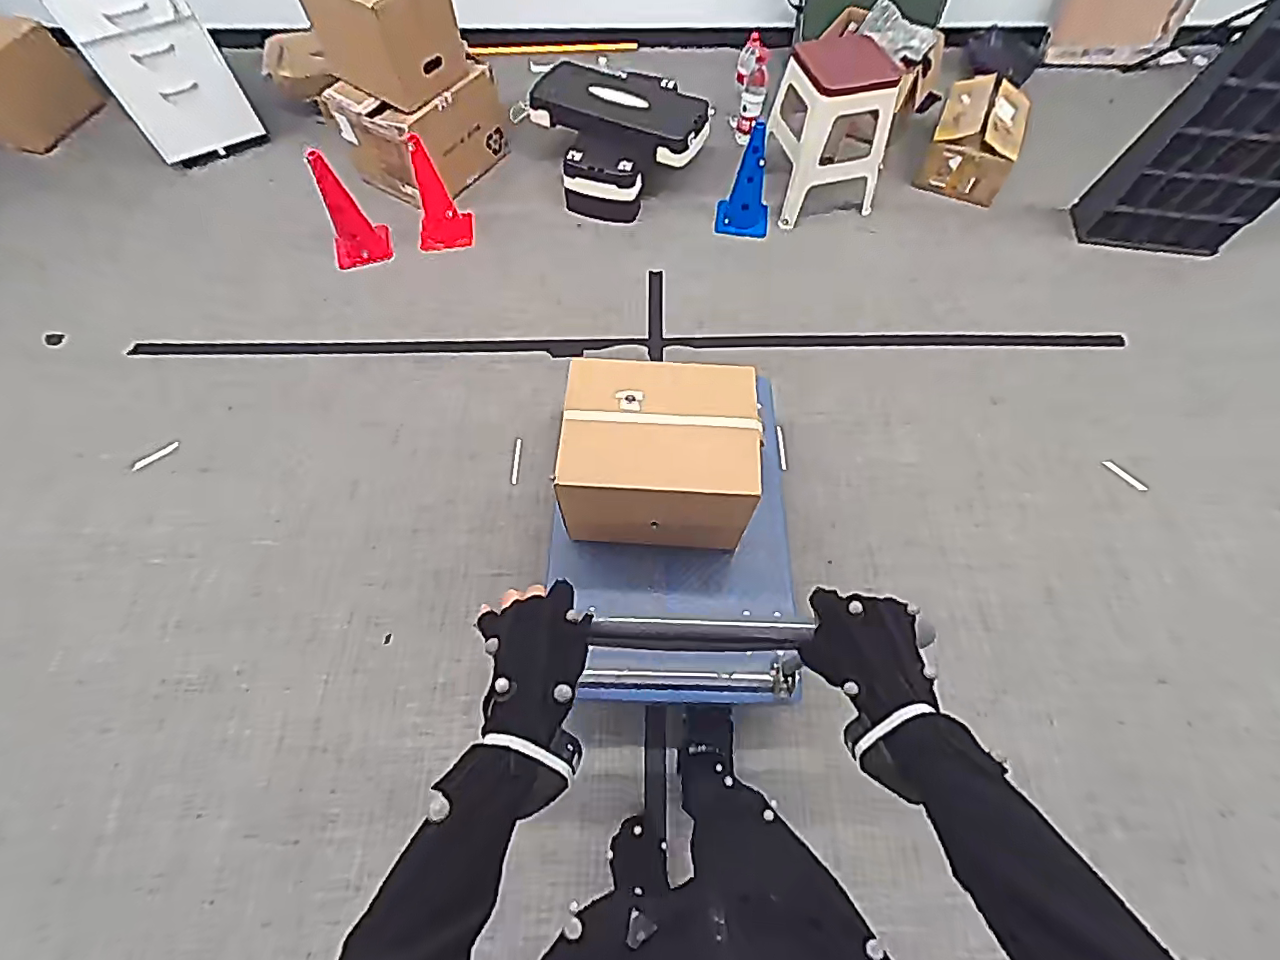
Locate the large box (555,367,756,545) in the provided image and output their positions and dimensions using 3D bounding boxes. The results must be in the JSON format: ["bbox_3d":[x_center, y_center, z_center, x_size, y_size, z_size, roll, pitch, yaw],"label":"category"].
[{"bbox_3d":[0.039,-0.044,1.260,0.408,0.320,0.320,3,63,2],"label":"large box"}]
